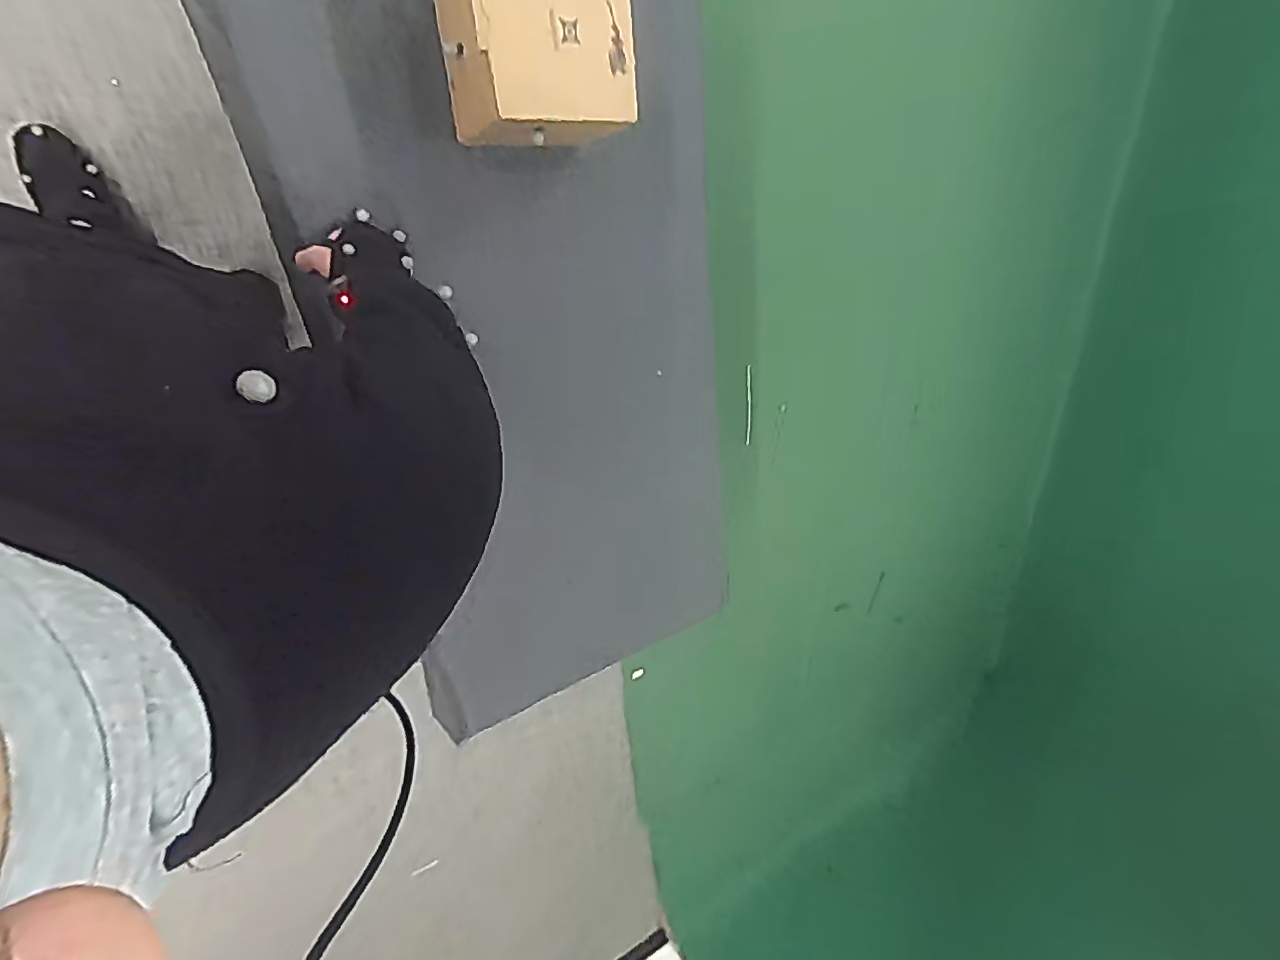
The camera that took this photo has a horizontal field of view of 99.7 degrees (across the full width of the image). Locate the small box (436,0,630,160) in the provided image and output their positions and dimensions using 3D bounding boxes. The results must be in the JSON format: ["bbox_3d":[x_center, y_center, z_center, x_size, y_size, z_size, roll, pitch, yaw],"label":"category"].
[{"bbox_3d":[-0.132,-0.489,0.645,0.179,0.176,0.168,-17,117,-26],"label":"small box"}]
